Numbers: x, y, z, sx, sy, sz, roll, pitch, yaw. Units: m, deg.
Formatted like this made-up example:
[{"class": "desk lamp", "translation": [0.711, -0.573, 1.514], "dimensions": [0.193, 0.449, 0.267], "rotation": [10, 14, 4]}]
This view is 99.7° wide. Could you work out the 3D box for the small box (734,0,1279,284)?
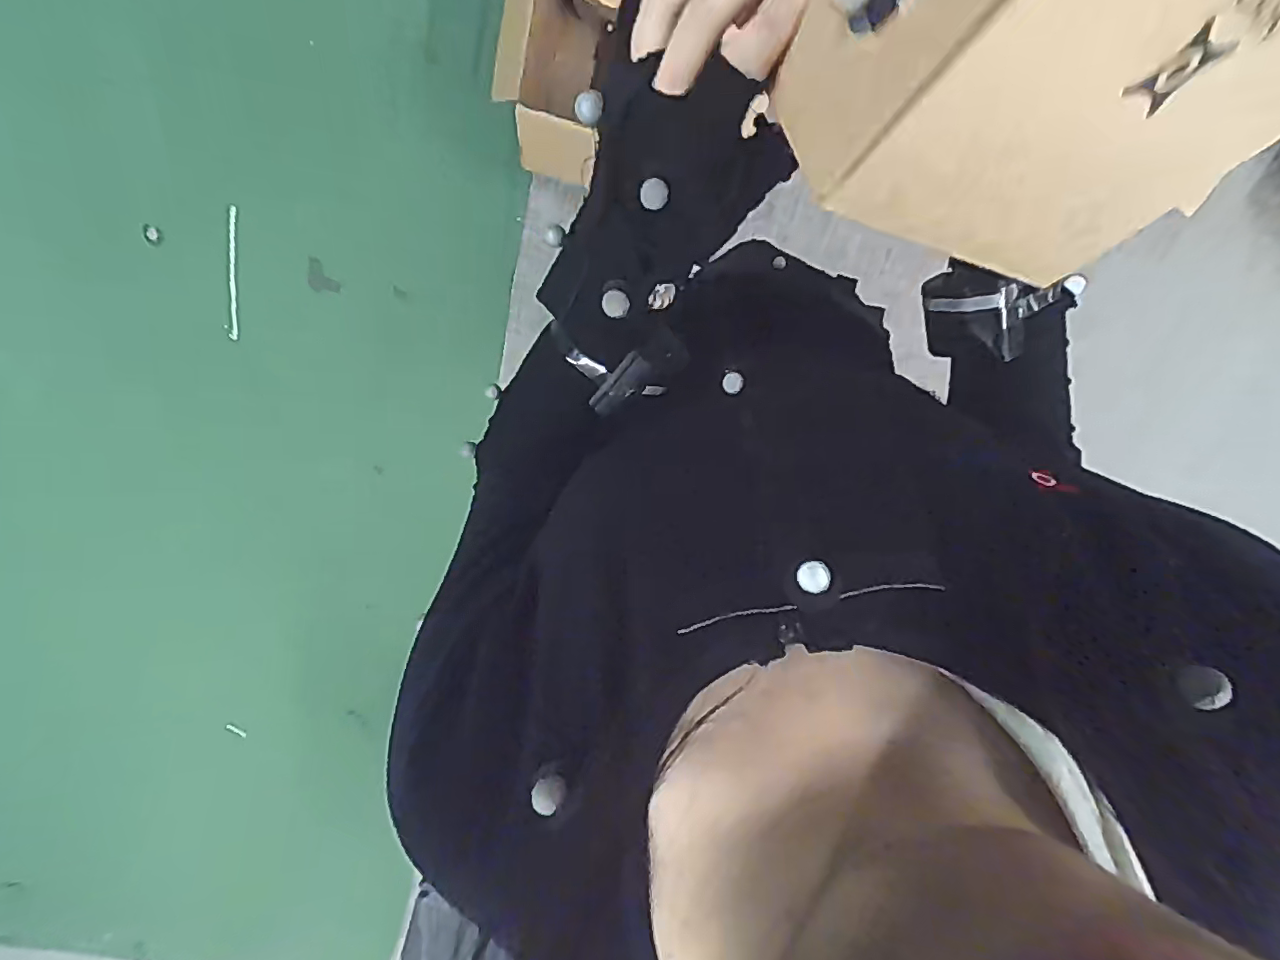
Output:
[{"class": "small box", "translation": [0.152, -0.210, 0.203], "dimensions": [0.168, 0.176, 0.179], "rotation": [-2, 157, -31]}]
